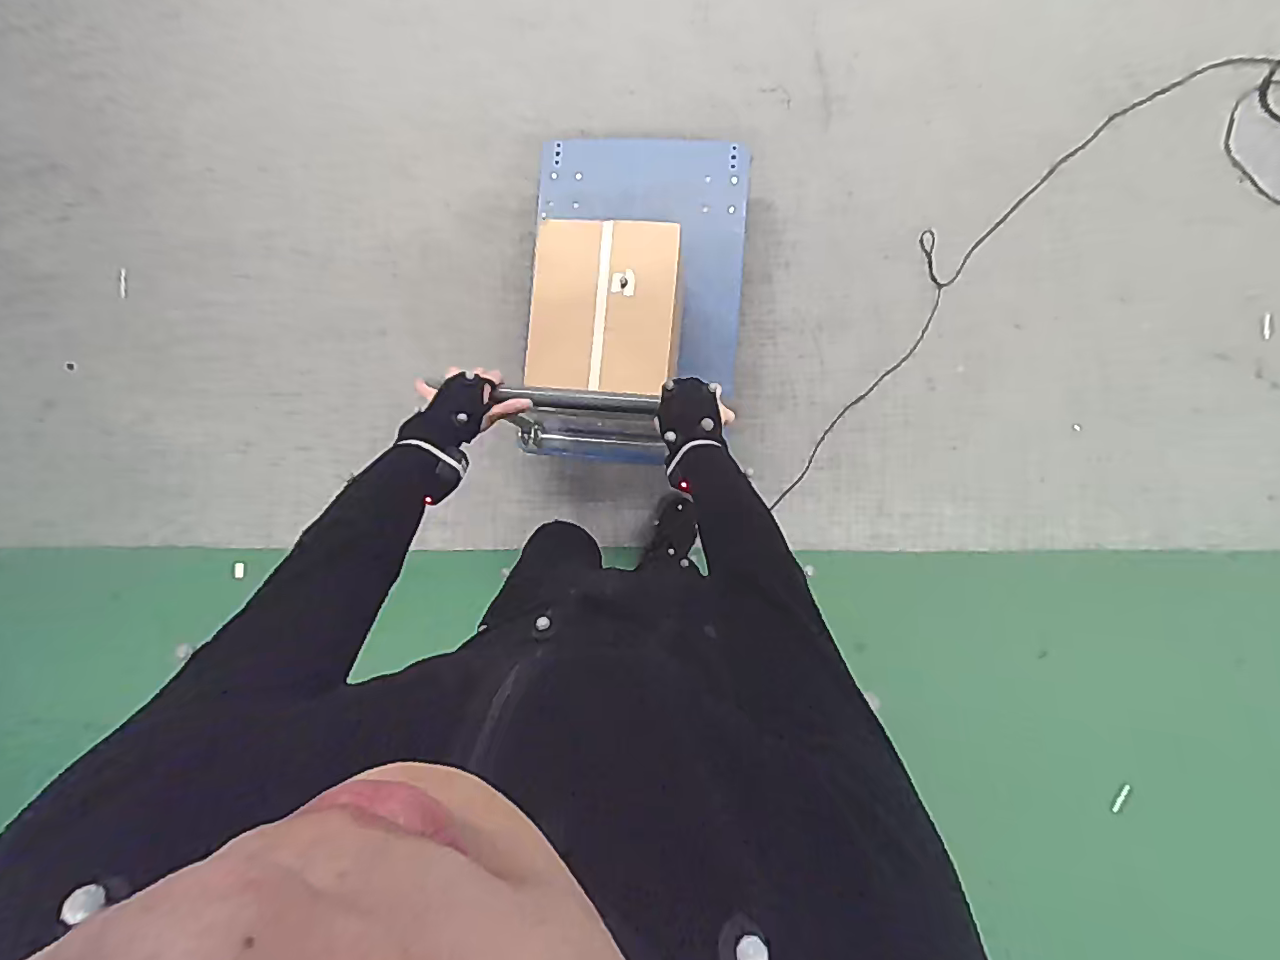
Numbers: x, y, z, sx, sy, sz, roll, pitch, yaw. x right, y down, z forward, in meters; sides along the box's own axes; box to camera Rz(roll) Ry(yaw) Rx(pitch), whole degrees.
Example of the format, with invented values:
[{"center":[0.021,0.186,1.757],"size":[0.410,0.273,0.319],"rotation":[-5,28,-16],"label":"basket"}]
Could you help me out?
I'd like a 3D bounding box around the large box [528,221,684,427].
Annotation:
[{"center":[-0.062,-0.353,1.312],"size":[0.320,0.320,0.408],"rotation":[5,88,5],"label":"large box"}]
